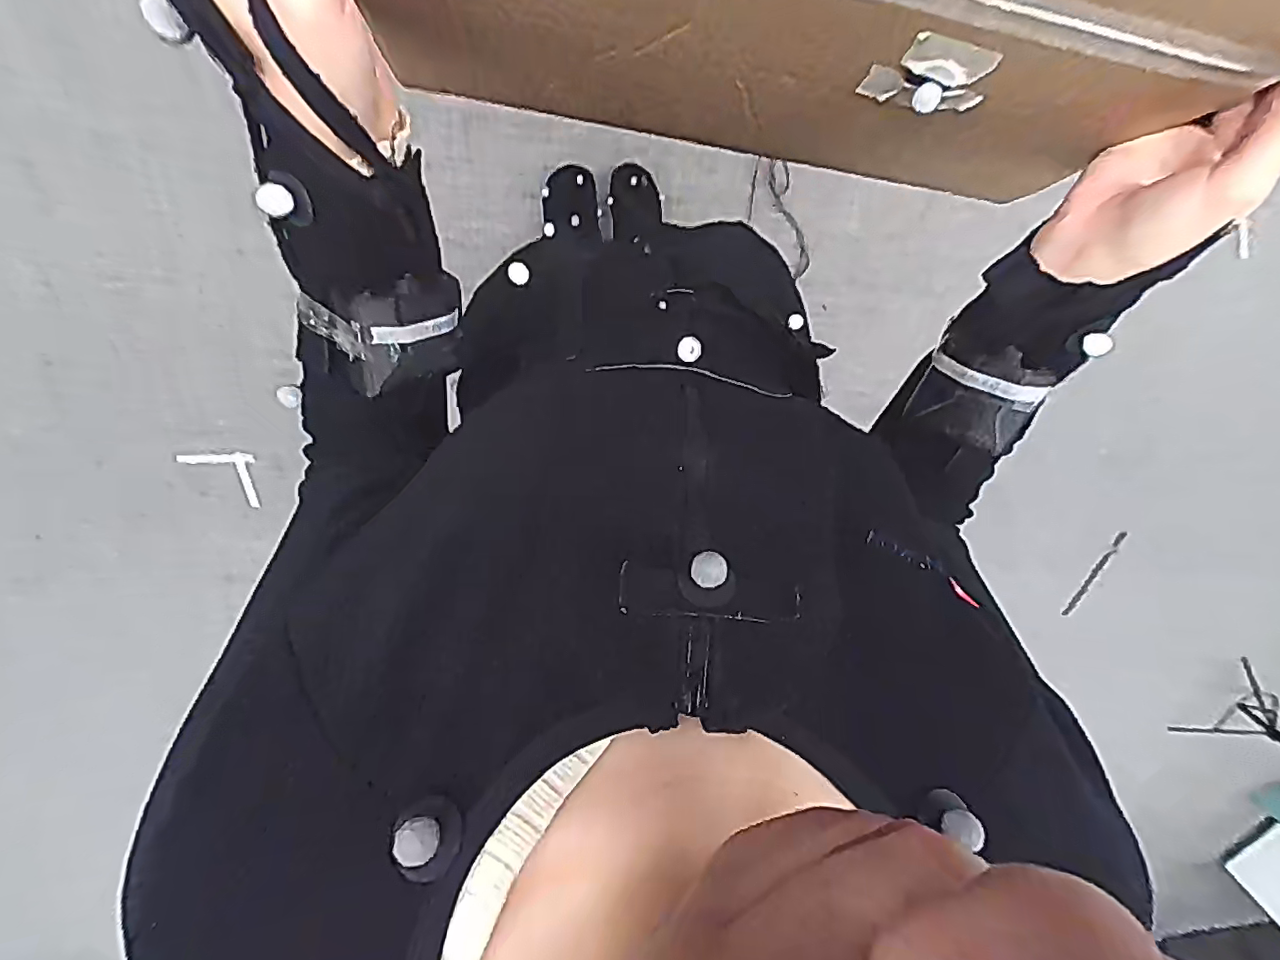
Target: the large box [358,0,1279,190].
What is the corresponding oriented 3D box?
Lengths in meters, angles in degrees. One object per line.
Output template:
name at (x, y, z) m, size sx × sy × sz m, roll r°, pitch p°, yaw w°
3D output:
large box at (0.087, -0.347, 0.185) m, size 0.408 × 0.320 × 0.320 m, roll 5°, pitch 98°, yaw -9°
